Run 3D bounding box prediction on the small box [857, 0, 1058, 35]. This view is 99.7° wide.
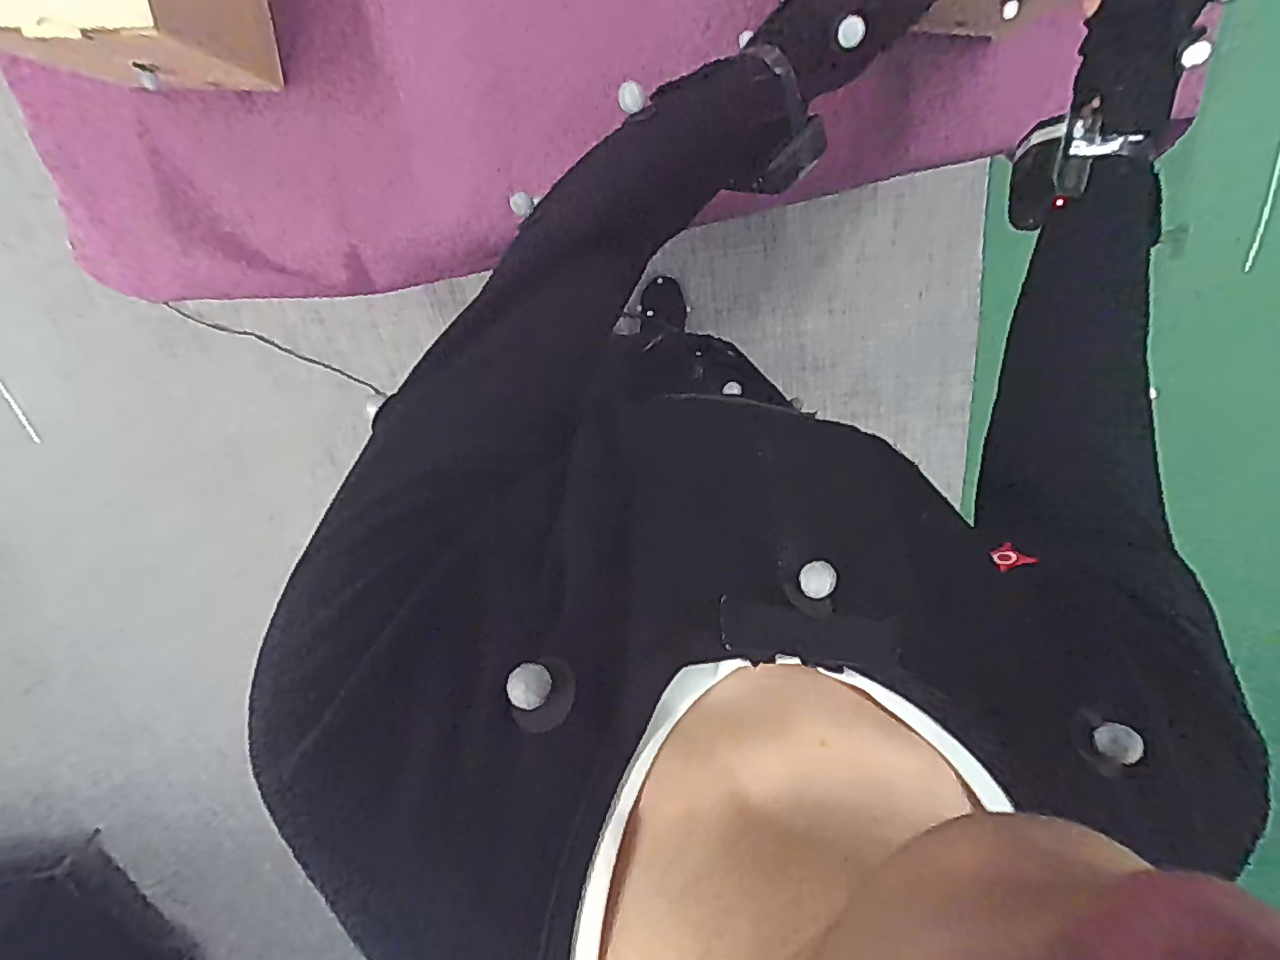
[{"bbox_3d":[0.289,-0.491,0.432,0.168,0.176,0.179,4,112,1],"label":"small box"}]

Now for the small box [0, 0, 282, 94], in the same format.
[{"bbox_3d":[-0.441,-0.444,0.452,0.168,0.176,0.179,0,114,-1],"label":"small box"}]
